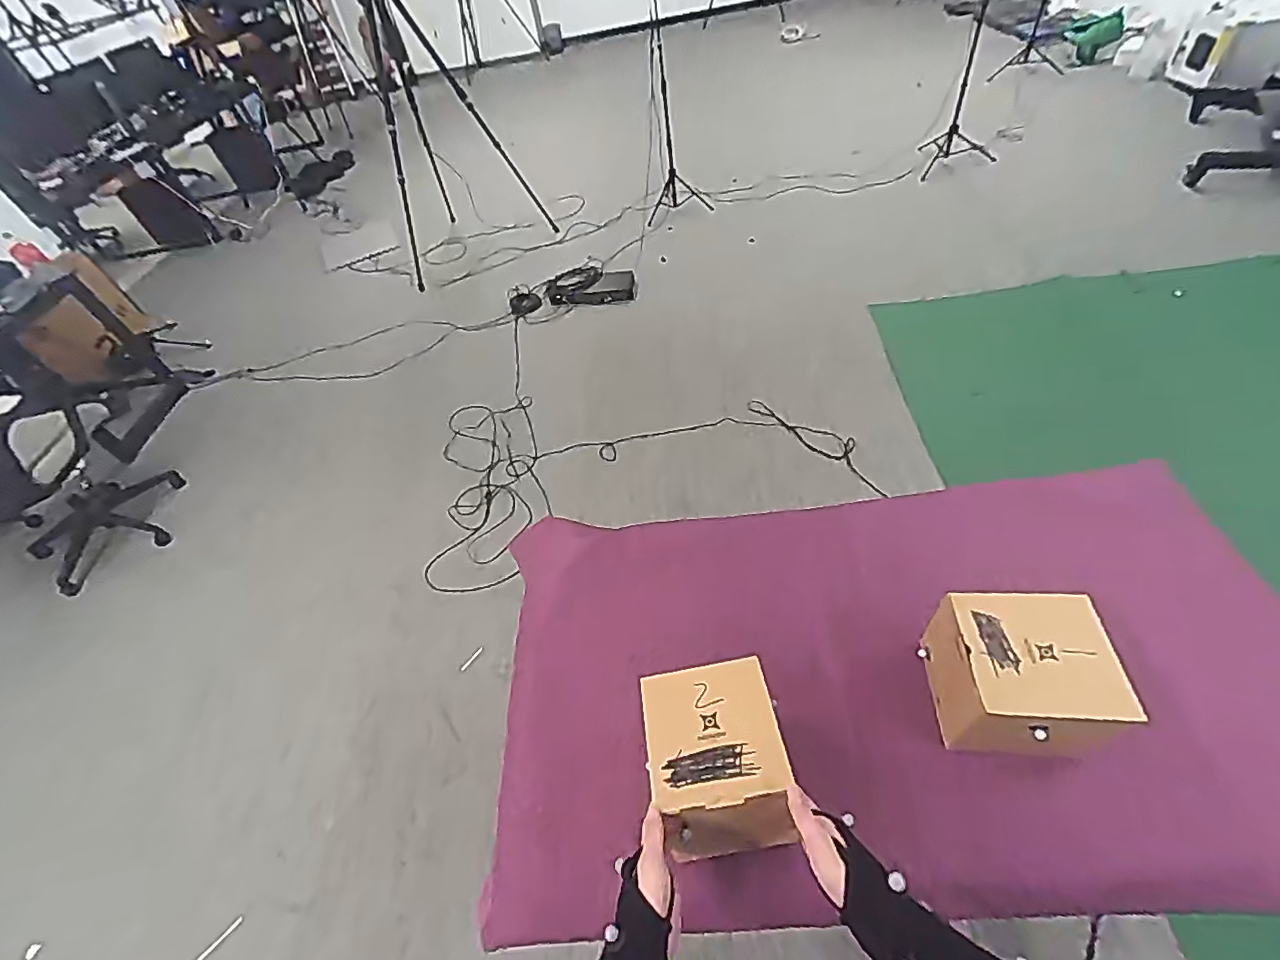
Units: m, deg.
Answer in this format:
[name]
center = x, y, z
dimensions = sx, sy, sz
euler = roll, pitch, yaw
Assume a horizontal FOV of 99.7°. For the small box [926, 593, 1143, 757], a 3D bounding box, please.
[small box]
center = 0.516, 0.271, 0.748
dimensions = 0.179, 0.176, 0.168
euler = 0, 50, 9
